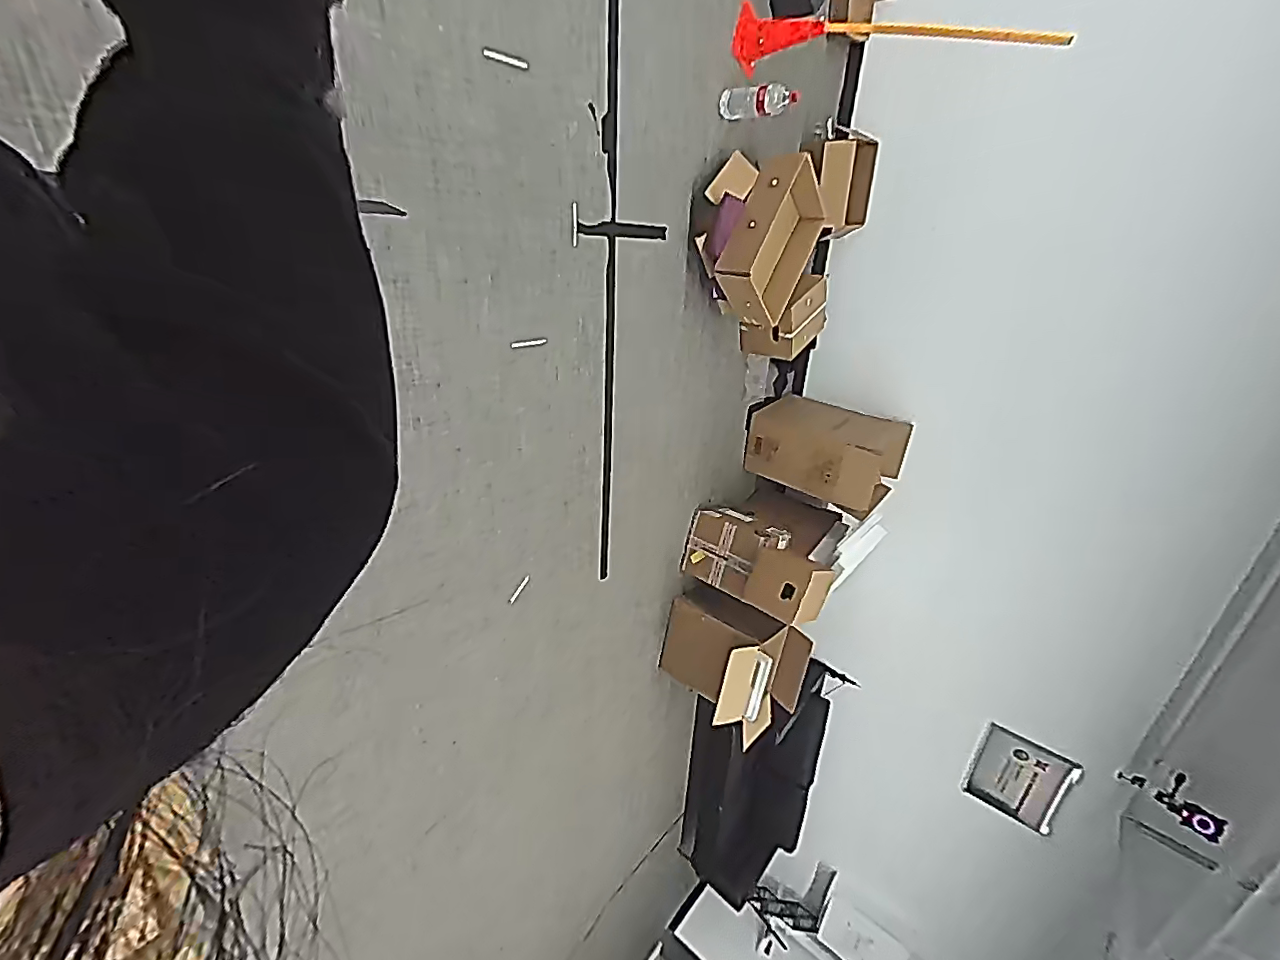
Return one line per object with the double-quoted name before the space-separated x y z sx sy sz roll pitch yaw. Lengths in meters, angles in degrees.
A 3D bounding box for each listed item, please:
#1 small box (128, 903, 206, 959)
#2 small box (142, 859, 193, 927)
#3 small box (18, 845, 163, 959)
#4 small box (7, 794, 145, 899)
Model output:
"small box" -1.155 1.160 1.276 0.168 0.176 0.179 -32 132 -43
"small box" -1.285 1.110 1.365 0.168 0.176 0.179 -32 131 -41
"small box" -1.160 0.923 1.144 0.168 0.176 0.179 -24 126 -46
"small box" -1.284 0.861 1.233 0.168 0.176 0.179 -27 129 -44
